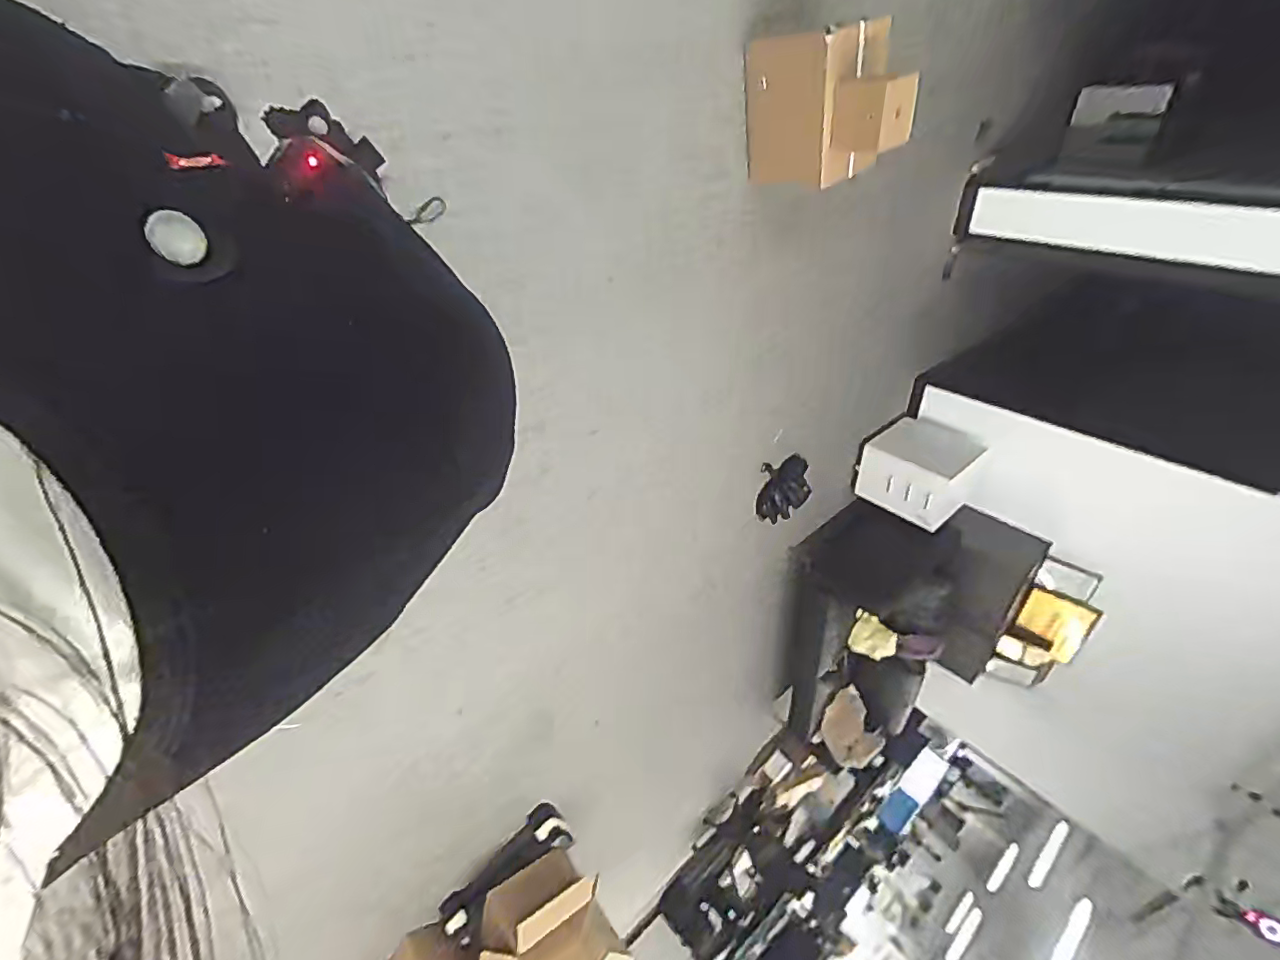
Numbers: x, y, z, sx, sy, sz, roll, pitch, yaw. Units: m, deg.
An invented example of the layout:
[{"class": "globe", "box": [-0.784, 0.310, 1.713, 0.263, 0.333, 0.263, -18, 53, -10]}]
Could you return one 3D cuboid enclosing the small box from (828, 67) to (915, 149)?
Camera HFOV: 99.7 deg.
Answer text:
[{"class": "small box", "box": [0.678, -1.101, 1.603, 0.168, 0.176, 0.179, -33, 136, -24]}]
